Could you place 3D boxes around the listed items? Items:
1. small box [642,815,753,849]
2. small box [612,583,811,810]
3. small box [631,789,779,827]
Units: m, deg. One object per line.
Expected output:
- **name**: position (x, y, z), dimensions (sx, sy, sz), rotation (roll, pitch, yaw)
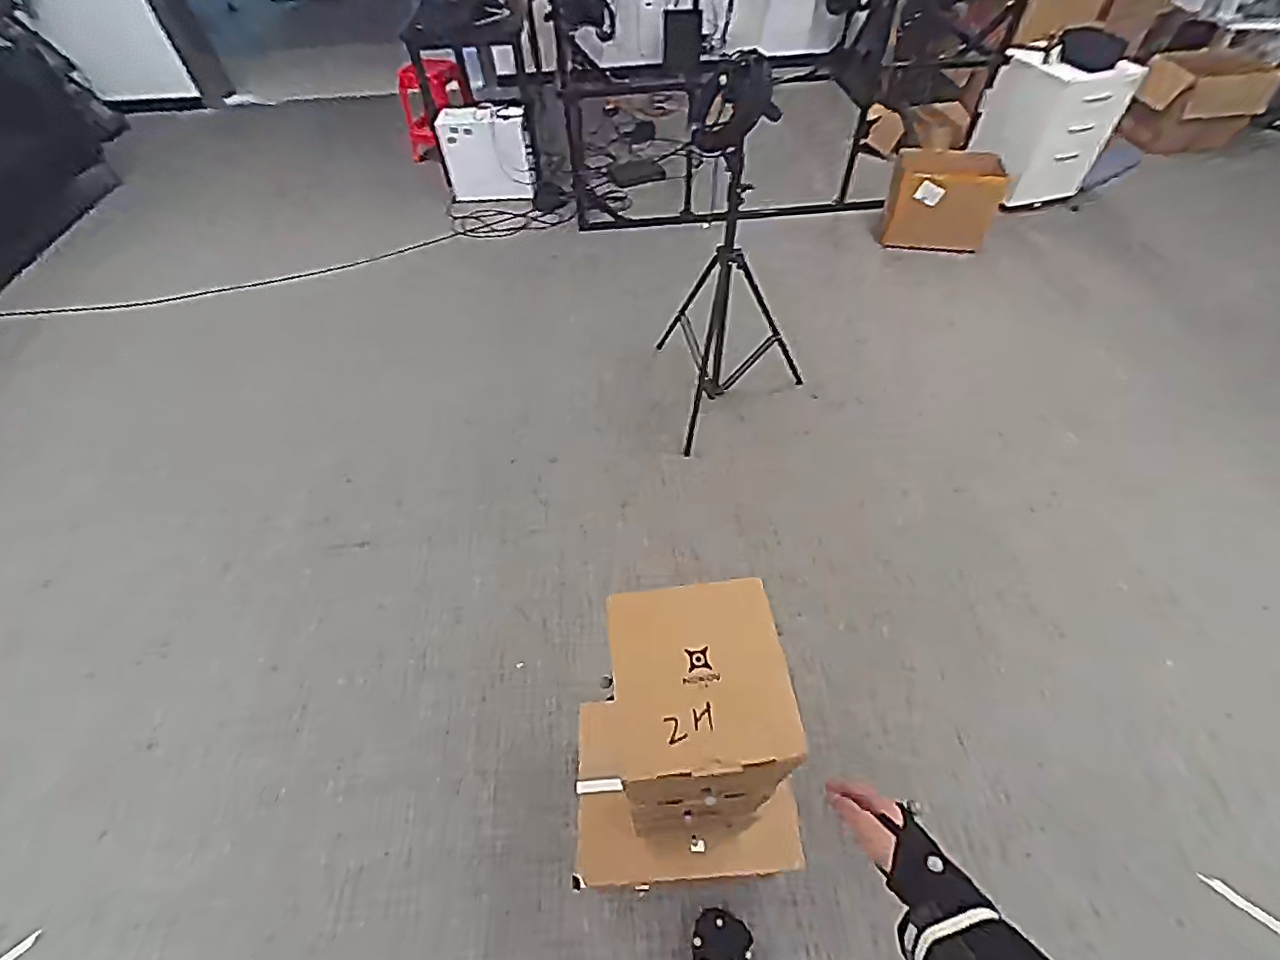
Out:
- **small box**: position (0.088, 0.542, 0.955), dimensions (0.179, 0.176, 0.168), rotation (-5, 53, -3)
- **small box**: position (0.060, 0.232, 0.575), dimensions (0.168, 0.176, 0.179), rotation (-7, 53, -2)
- **small box**: position (0.067, 0.335, 0.704), dimensions (0.168, 0.176, 0.179), rotation (-5, 53, -2)
